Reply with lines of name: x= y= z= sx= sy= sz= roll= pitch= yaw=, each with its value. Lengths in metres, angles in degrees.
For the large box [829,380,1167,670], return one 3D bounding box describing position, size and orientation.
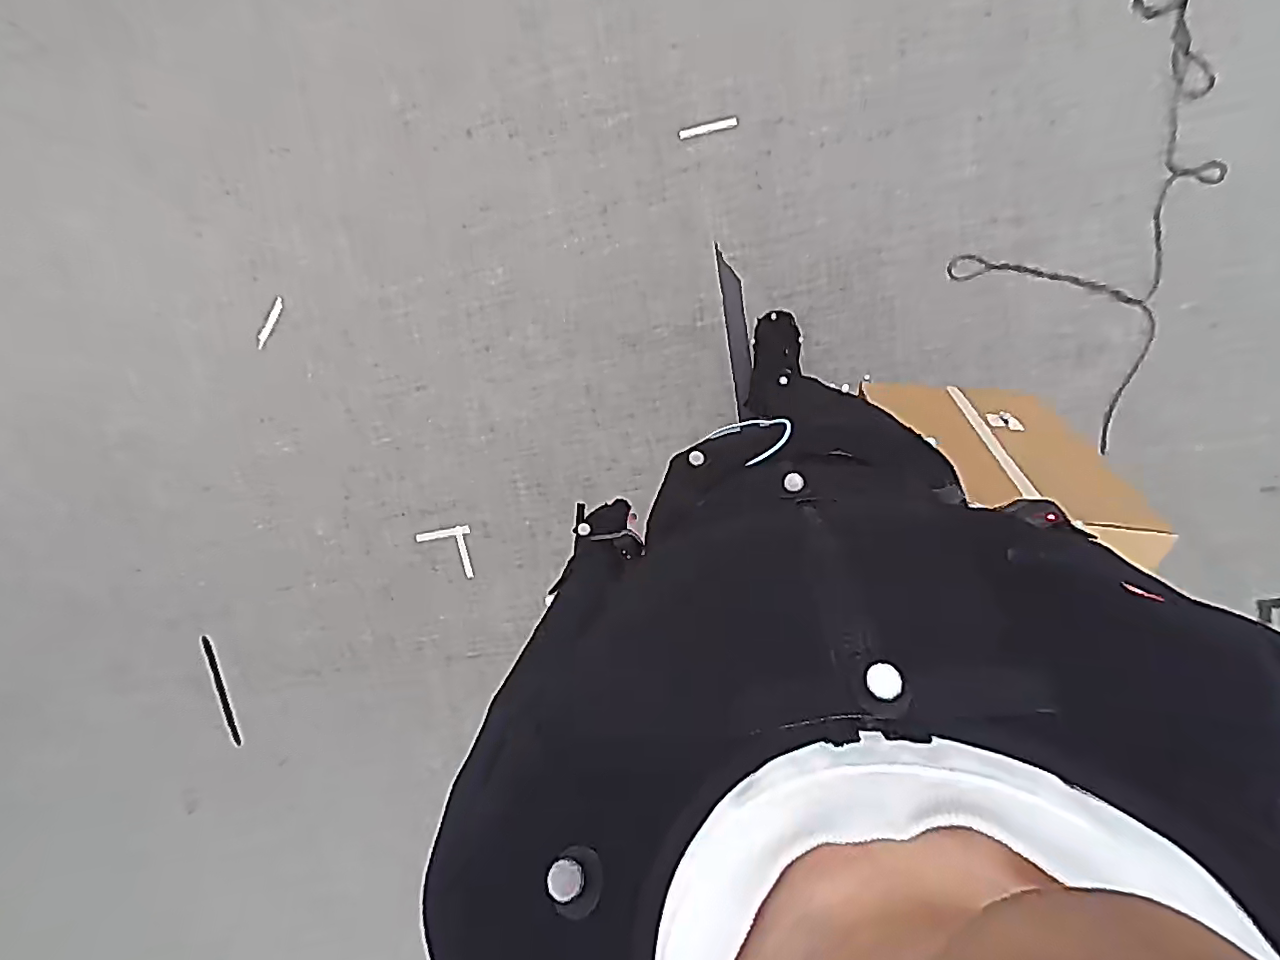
large box: x=0.535 y=0.057 z=0.931 sx=0.320 sy=0.408 sz=0.320 roll=6 pitch=124 yaw=7
